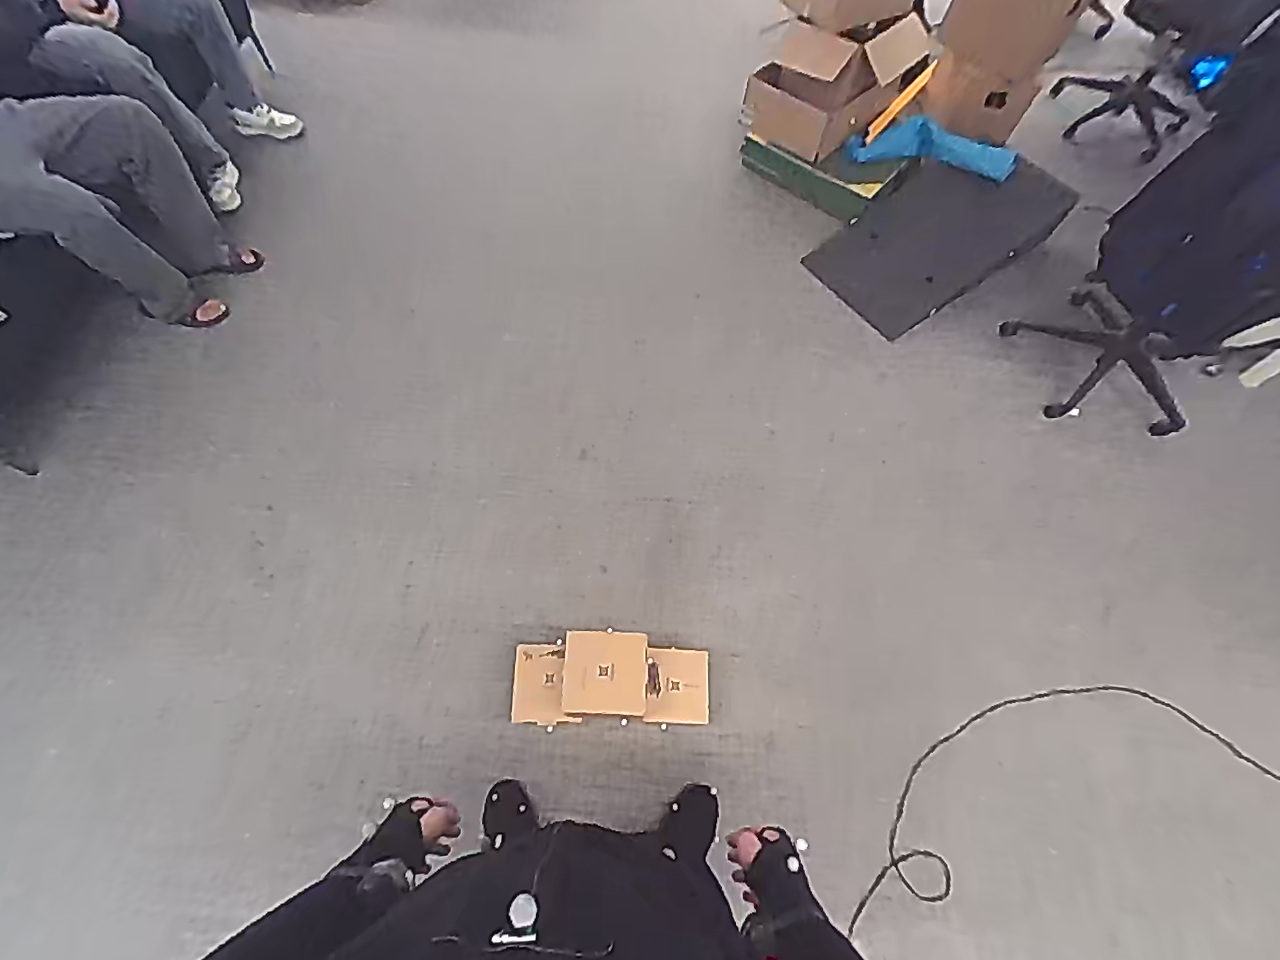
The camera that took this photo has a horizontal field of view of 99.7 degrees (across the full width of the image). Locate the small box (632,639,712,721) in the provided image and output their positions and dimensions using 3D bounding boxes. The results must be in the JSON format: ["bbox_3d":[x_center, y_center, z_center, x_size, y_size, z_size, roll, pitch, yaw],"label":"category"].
[{"bbox_3d":[0.077,0.505,1.354,0.179,0.176,0.168,7,66,2],"label":"small box"}]

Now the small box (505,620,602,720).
[{"bbox_3d":[-0.210,0.481,1.351,0.179,0.176,0.168,-27,66,-13],"label":"small box"}]
